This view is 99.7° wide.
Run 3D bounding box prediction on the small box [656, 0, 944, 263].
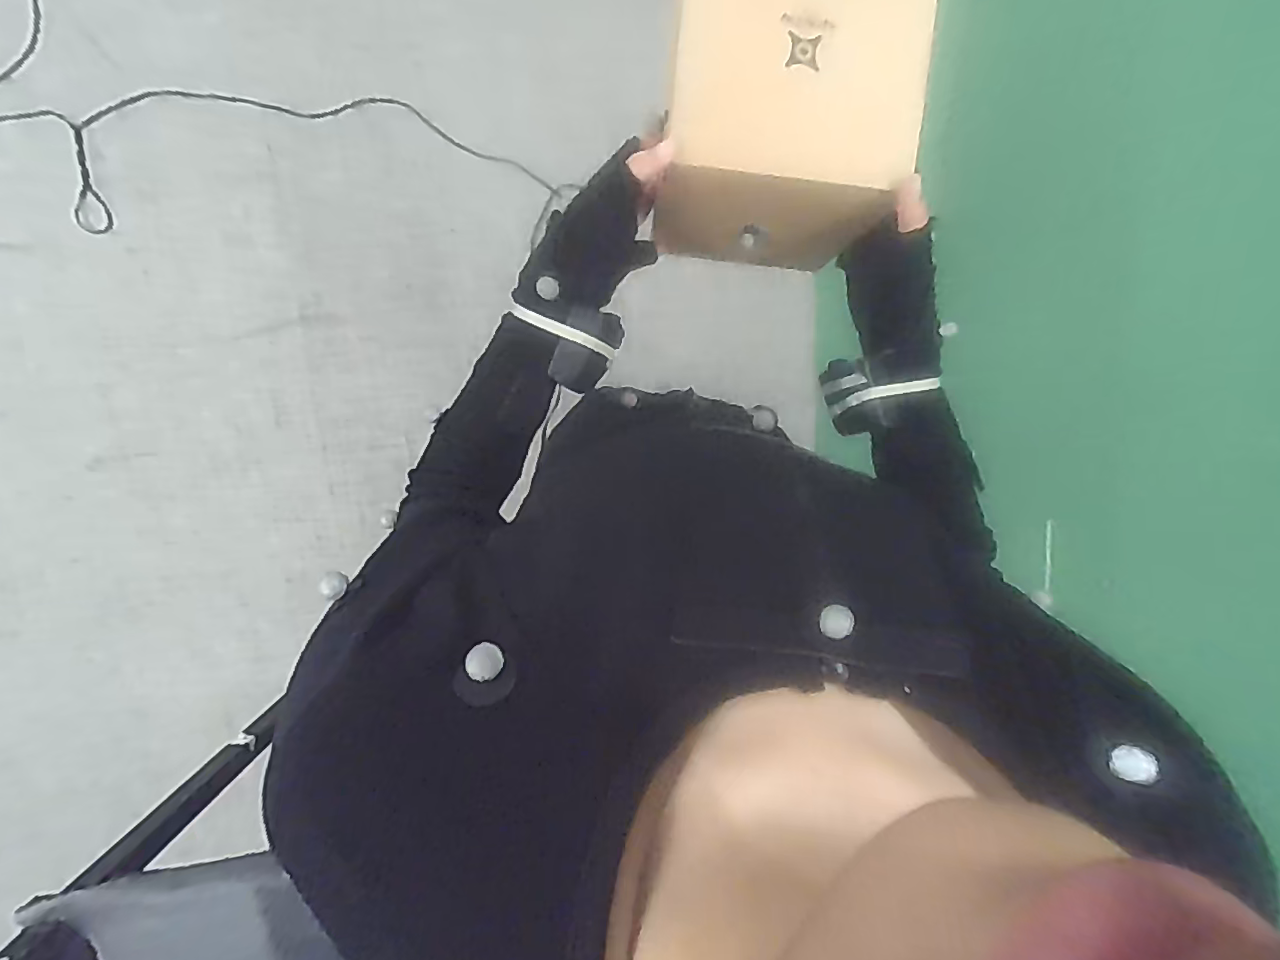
[{"bbox_3d":[0.105,-0.287,0.421,0.168,0.176,0.179,6,93,-3],"label":"small box"}]
